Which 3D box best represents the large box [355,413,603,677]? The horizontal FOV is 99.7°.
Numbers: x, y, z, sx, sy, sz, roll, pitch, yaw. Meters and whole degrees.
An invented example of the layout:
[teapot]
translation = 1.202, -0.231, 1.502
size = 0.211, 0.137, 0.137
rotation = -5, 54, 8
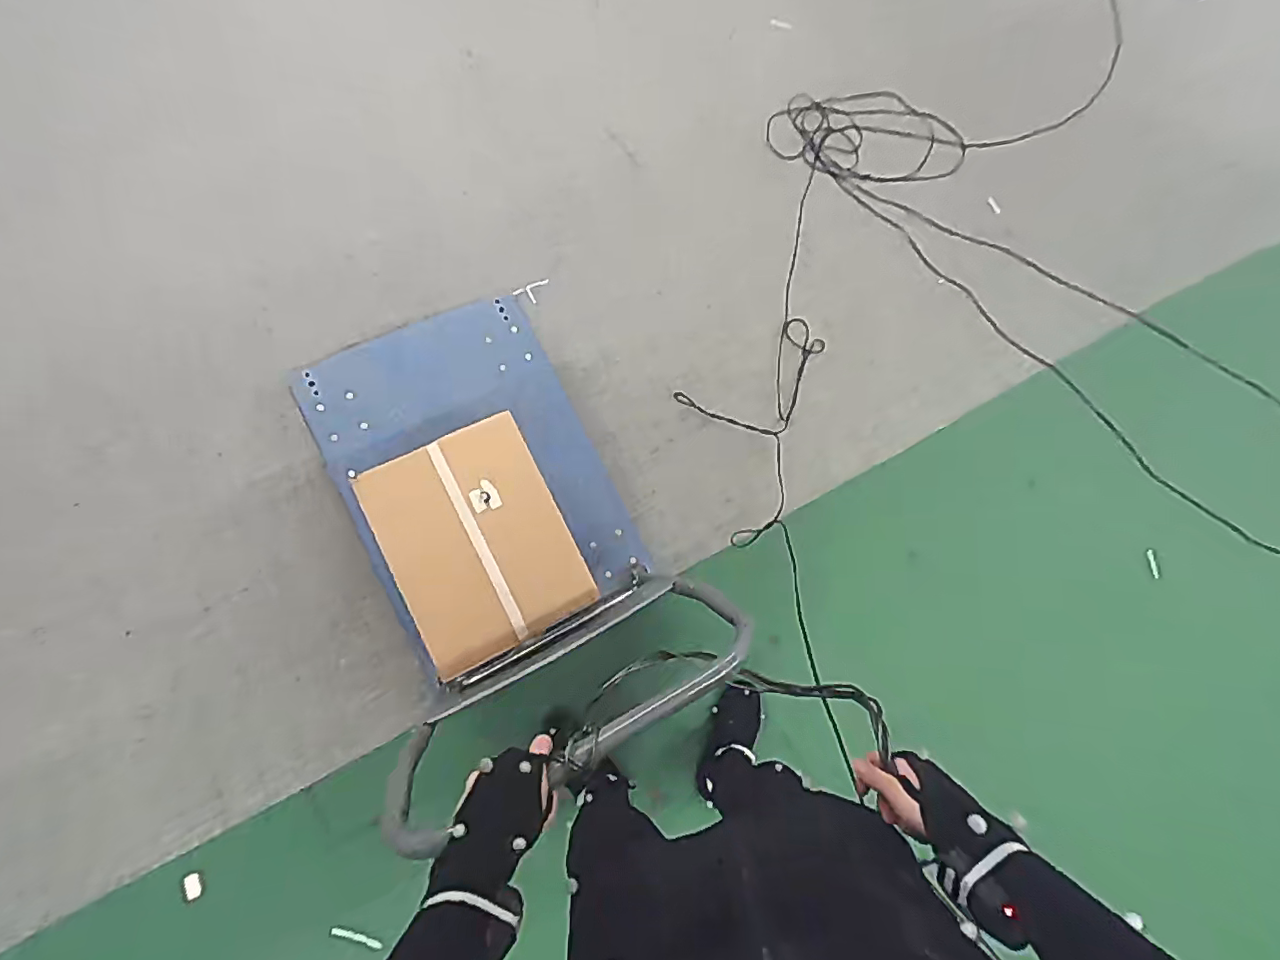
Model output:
[large box]
translation = -0.312, 0.134, 1.137
size = 0.320, 0.320, 0.408
rotation = -27, 85, -13
